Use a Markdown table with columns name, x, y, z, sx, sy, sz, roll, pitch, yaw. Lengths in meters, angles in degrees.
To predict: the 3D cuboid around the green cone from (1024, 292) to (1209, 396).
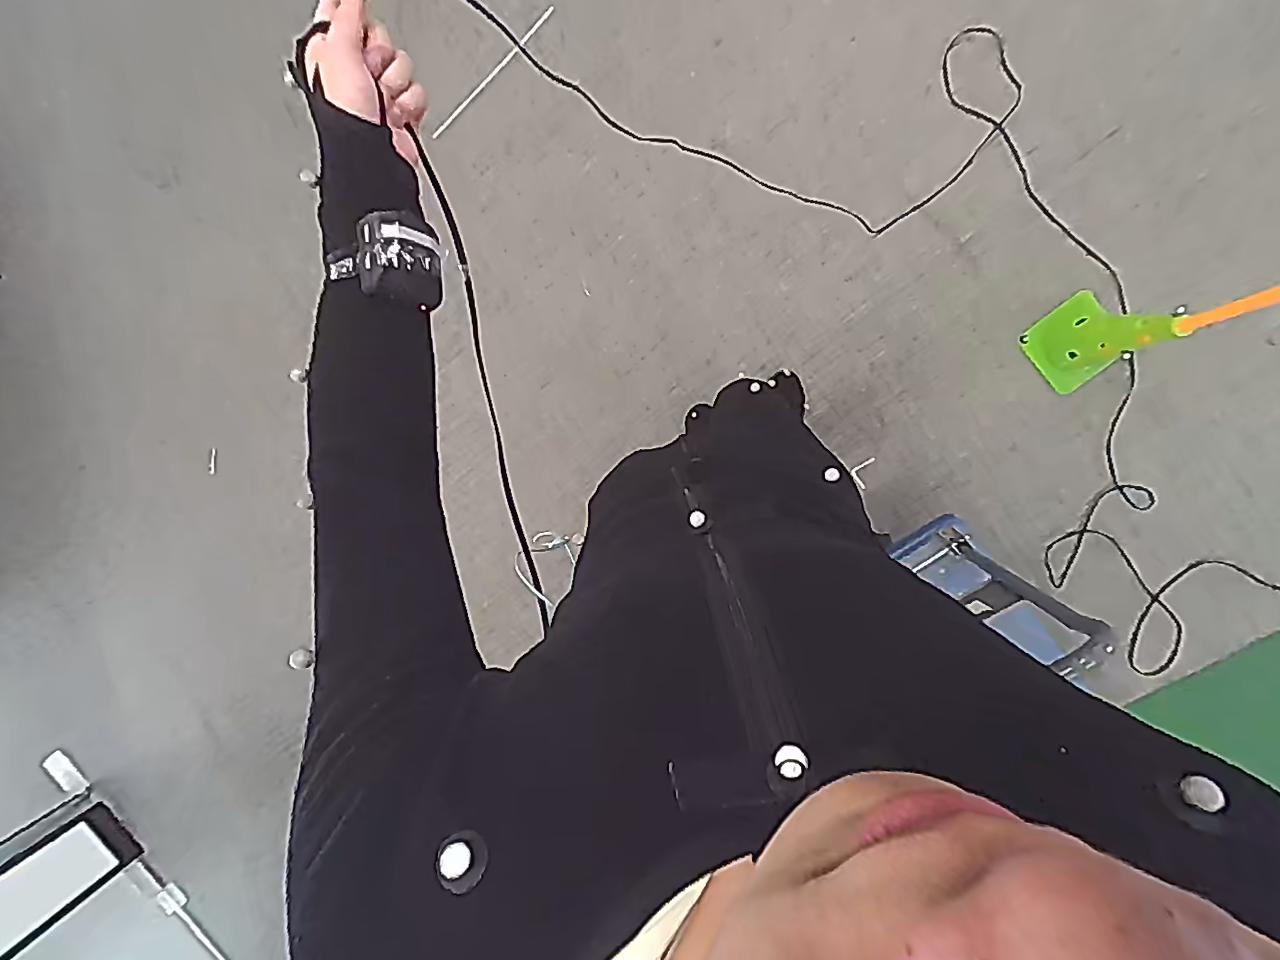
| name | x | y | z | sx | sy | sz | roll | pitch | yaw |
| --- | --- | --- | --- | --- | --- | --- | --- | --- | --- |
| green cone | 1.098 | -0.320 | 1.216 | 0.202 | 0.368 | 0.200 | -41 | 91 | 12 |
